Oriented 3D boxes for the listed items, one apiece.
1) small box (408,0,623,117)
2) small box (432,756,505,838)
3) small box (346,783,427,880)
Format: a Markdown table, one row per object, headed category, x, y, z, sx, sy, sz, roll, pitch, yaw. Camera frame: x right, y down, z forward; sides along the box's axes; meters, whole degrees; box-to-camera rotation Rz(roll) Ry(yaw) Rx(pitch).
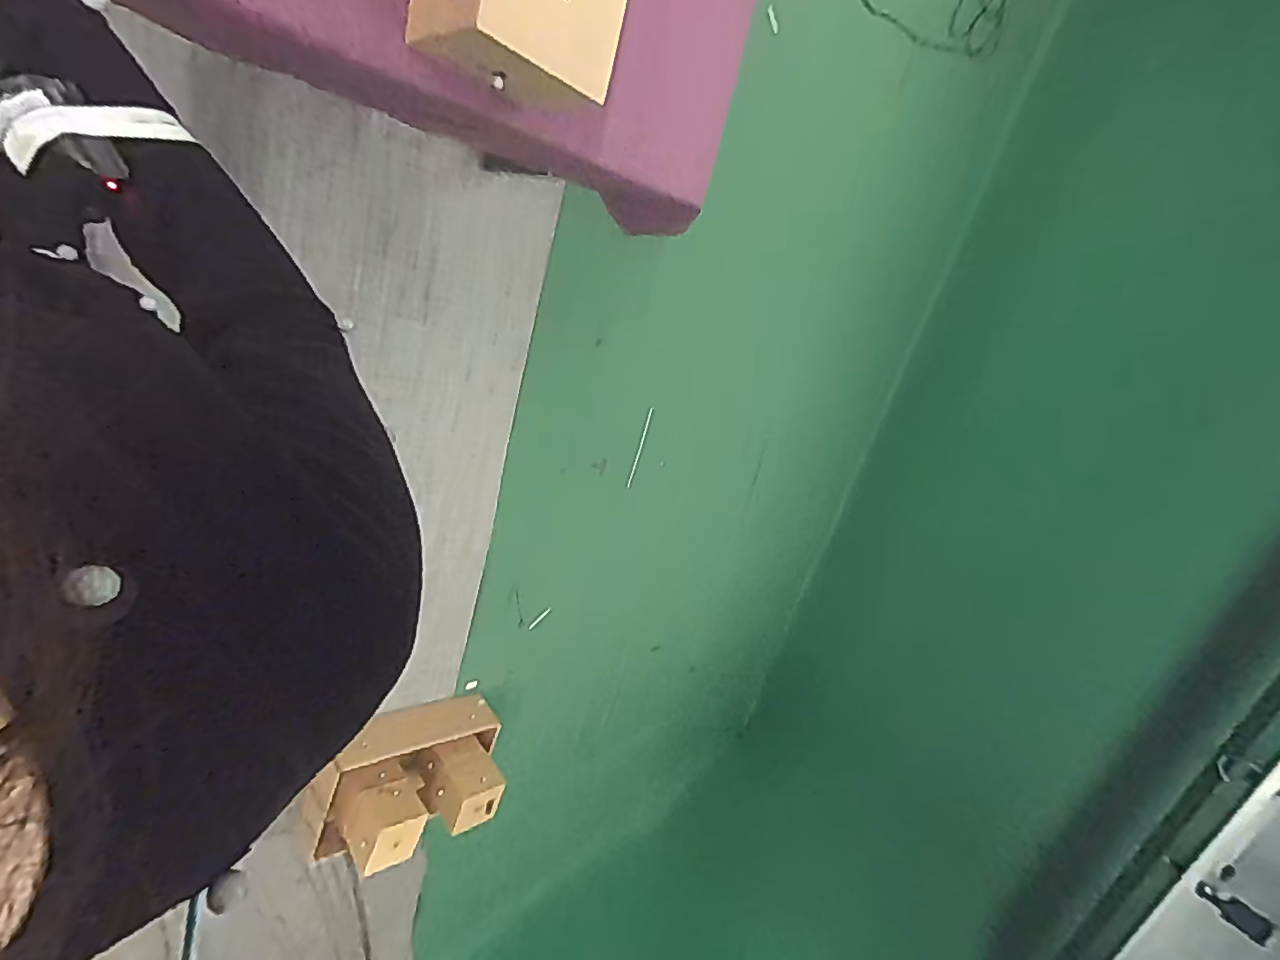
| category | x | y | z | sx | sy | sz | roll | pitch | yaw |
| --- | --- | --- | --- | --- | --- | --- | --- | --- | --- |
| small box | -0.139 | -0.535 | 0.603 | 0.168 | 0.176 | 0.179 | -4 | 116 | -47 |
| small box | -0.633 | 1.156 | 1.990 | 0.179 | 0.176 | 0.168 | 7 | 109 | -49 |
| small box | -0.832 | 1.139 | 1.765 | 0.168 | 0.176 | 0.179 | 15 | 99 | -52 |
